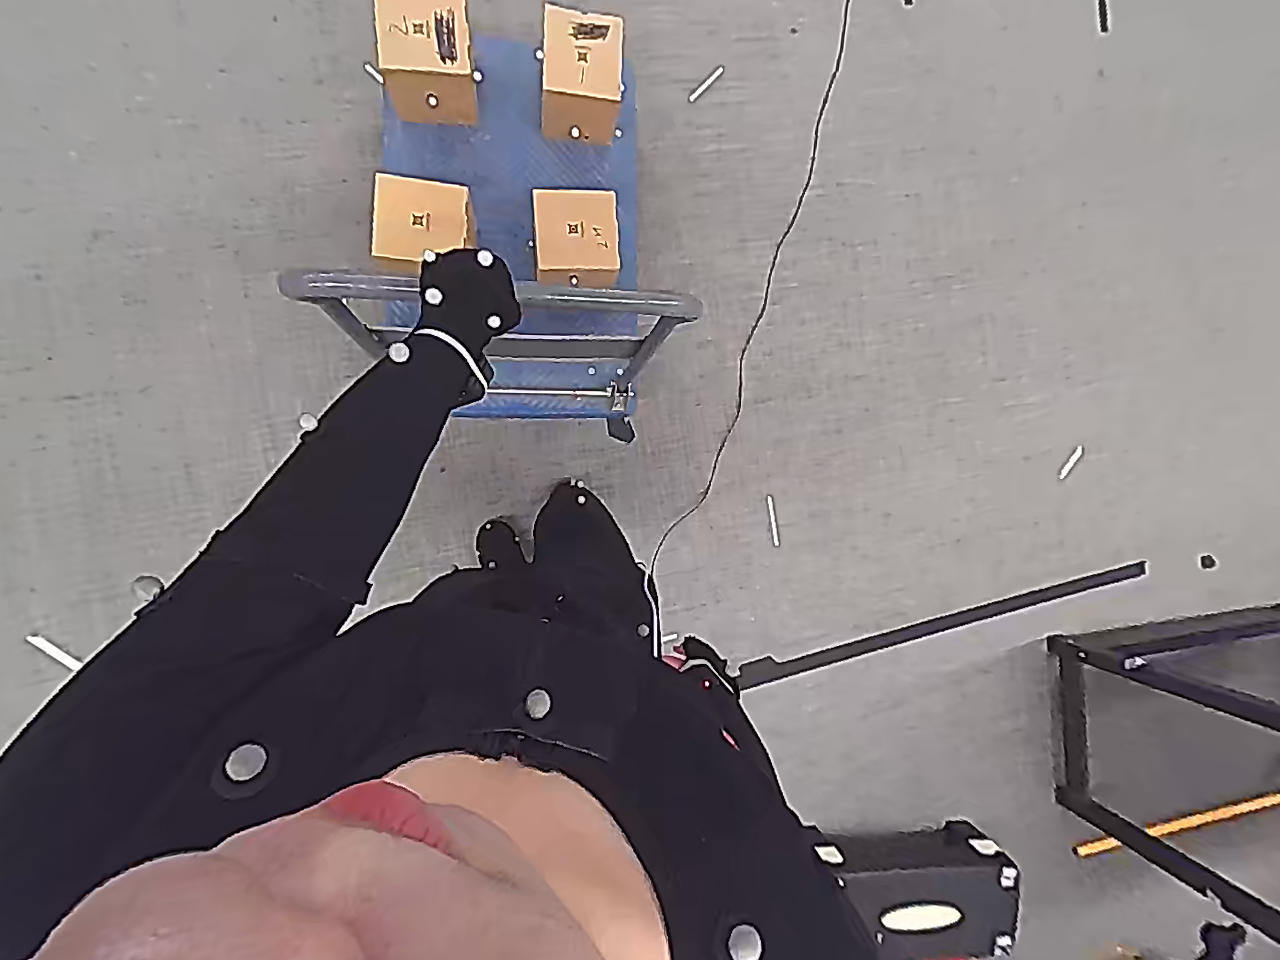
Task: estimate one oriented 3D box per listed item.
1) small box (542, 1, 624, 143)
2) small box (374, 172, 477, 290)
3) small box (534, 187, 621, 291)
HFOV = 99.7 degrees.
[{"bbox_3d":[-0.131,-0.896,1.202,0.168,0.176,0.179,1,92,-11],"label":"small box"},{"bbox_3d":[-0.447,-0.518,1.149,0.179,0.176,0.168,2,90,-13],"label":"small box"},{"bbox_3d":[-0.143,-0.528,1.207,0.179,0.176,0.168,-4,92,-11],"label":"small box"}]
